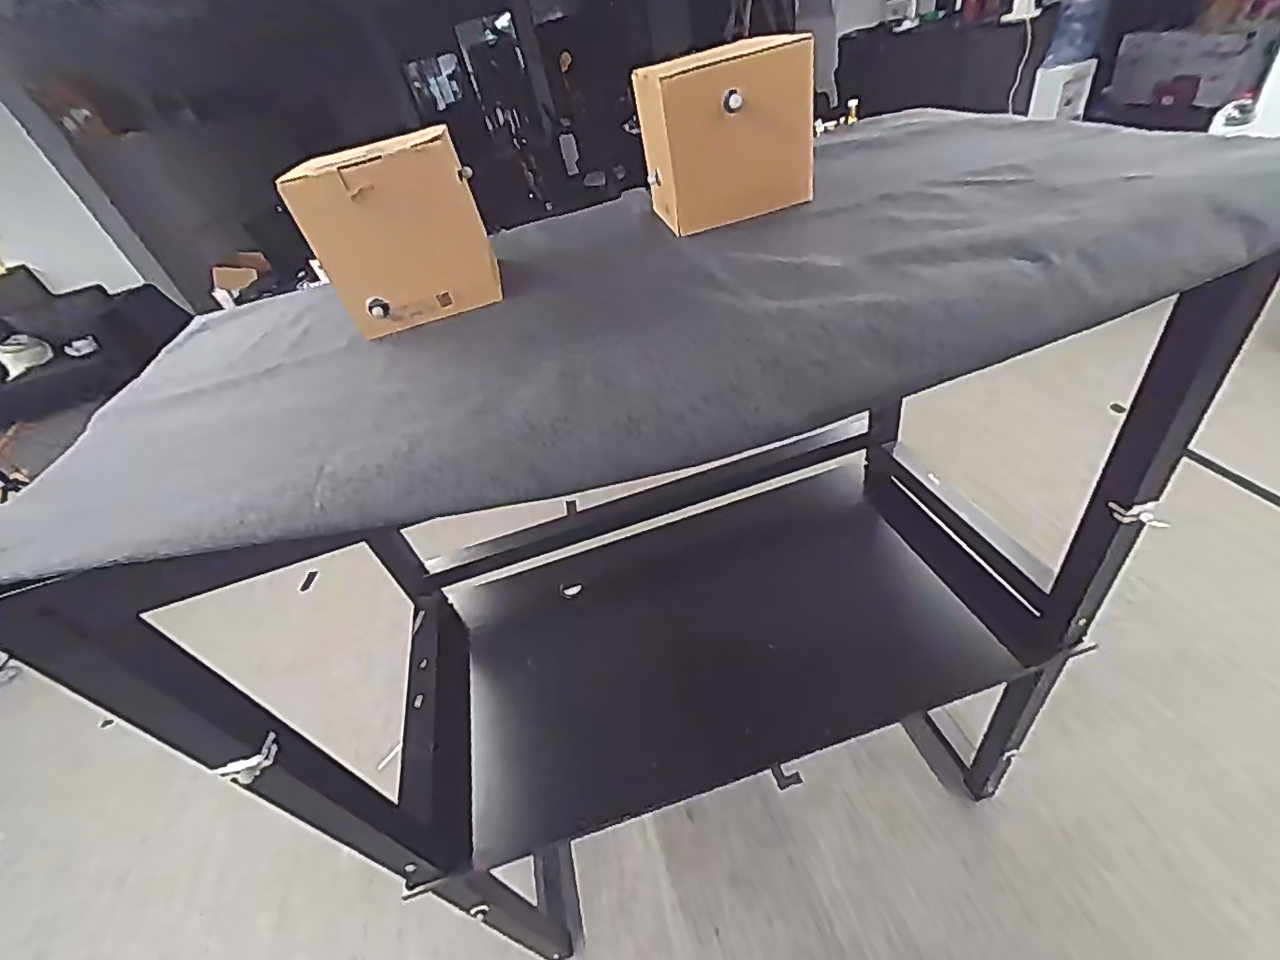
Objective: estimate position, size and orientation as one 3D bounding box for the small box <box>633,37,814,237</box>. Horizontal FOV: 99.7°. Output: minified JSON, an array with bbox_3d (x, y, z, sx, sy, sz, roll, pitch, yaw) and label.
[{"bbox_3d":[0.104,-0.433,0.684,0.179,0.176,0.168,-17,39,0],"label":"small box"}]

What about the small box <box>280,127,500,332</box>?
[{"bbox_3d":[-0.273,-0.292,0.638,0.168,0.176,0.179,-18,39,-3],"label":"small box"}]
